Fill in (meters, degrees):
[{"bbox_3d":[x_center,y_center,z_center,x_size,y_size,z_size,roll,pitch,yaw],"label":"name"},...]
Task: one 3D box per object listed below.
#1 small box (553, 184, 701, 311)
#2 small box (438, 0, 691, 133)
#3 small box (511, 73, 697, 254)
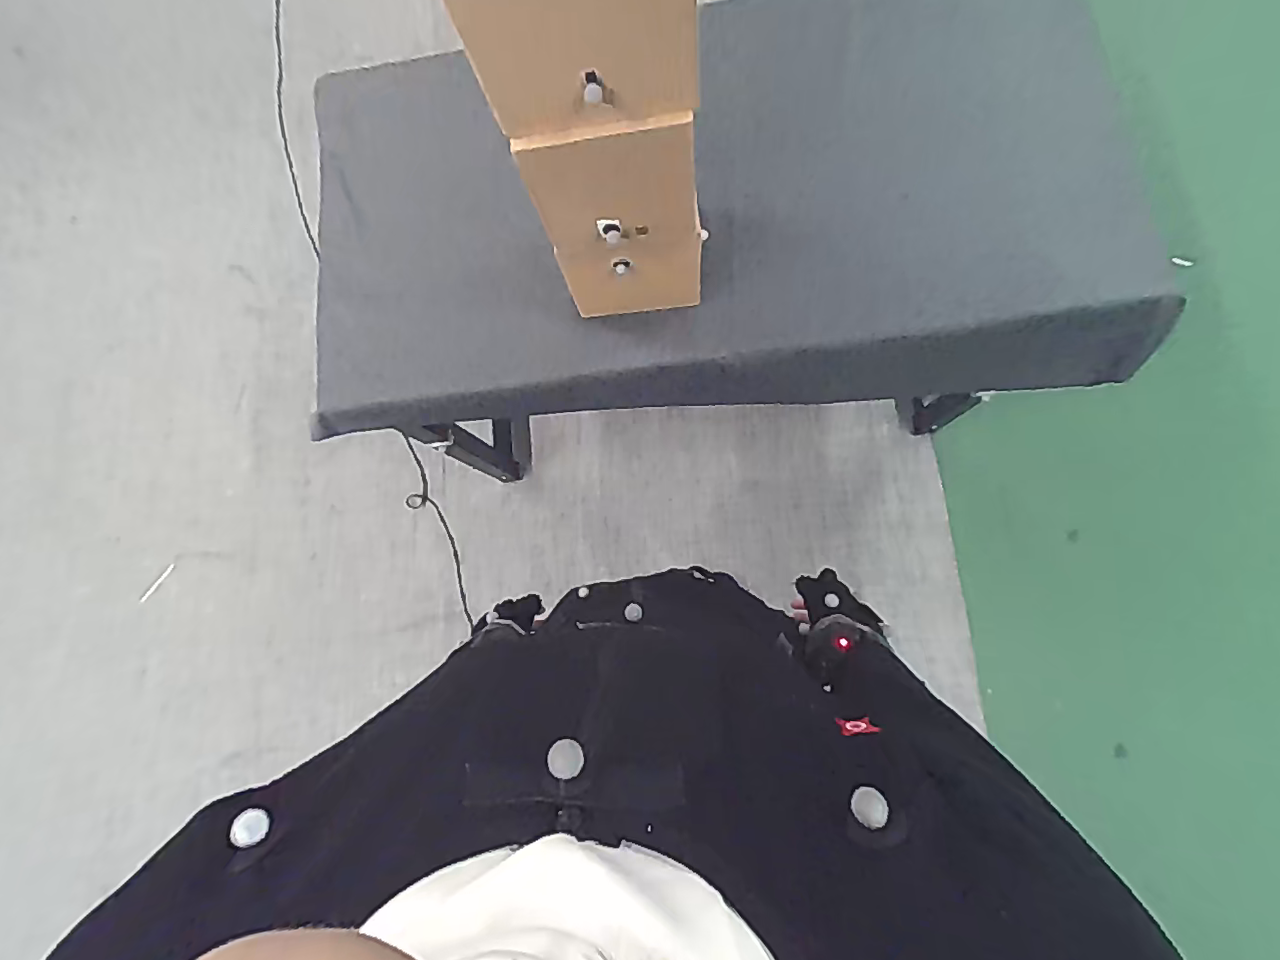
[{"bbox_3d":[-0.011,-0.343,0.726,0.179,0.176,0.168,-4,79,5],"label":"small box"},{"bbox_3d":[-0.052,-0.405,0.410,0.179,0.176,0.168,-4,79,7],"label":"small box"},{"bbox_3d":[-0.030,-0.371,0.569,0.168,0.176,0.179,-6,80,7],"label":"small box"}]
